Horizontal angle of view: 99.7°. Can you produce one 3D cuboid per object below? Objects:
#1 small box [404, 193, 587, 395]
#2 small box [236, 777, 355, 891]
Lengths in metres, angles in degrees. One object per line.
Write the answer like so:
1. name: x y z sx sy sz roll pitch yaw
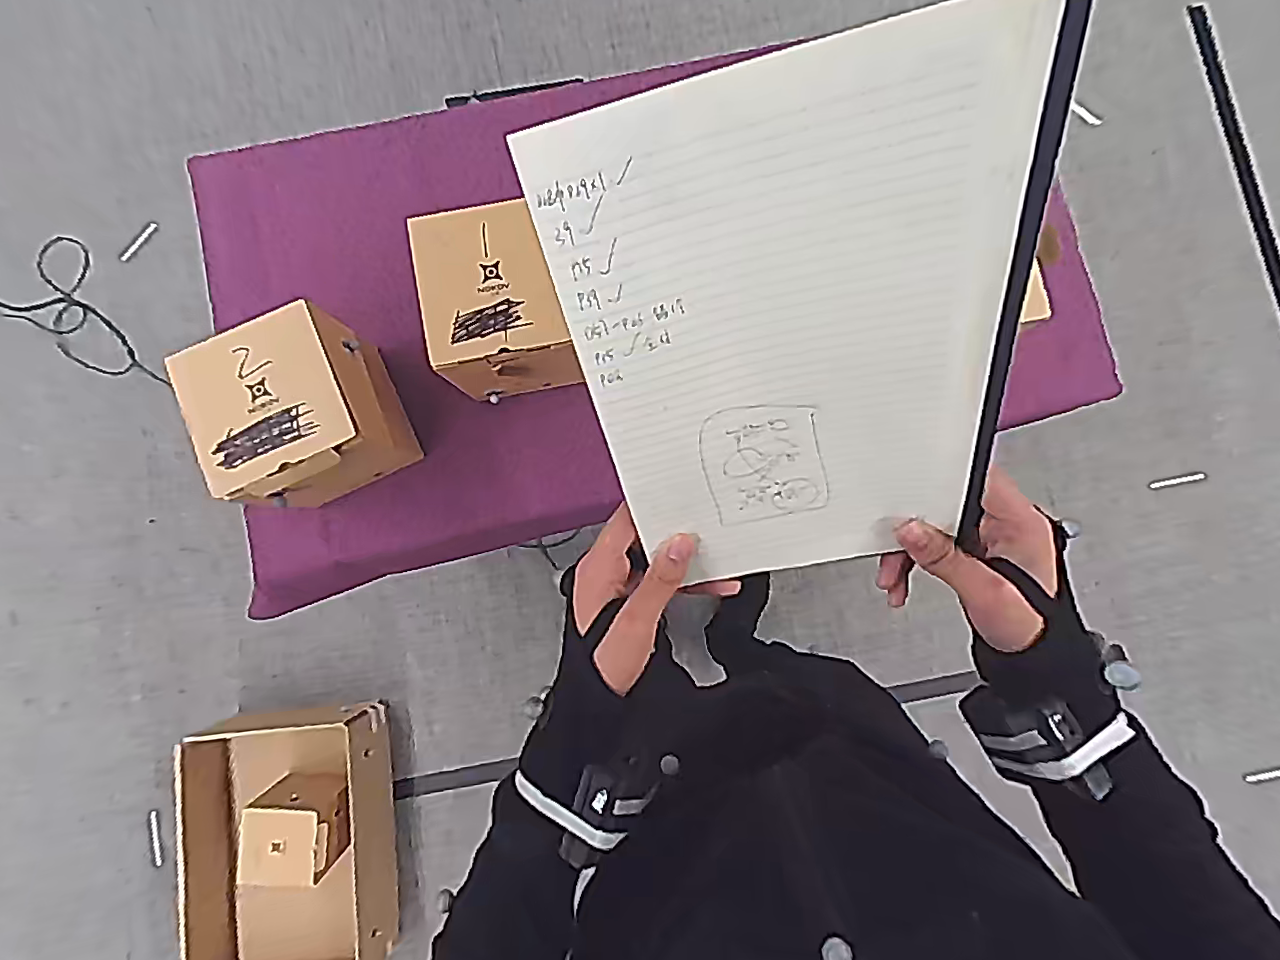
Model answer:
1. small box: -0.165 -0.213 0.668 0.168 0.176 0.179 -11 85 -1
2. small box: -0.799 0.822 1.271 0.179 0.176 0.168 2 86 0
